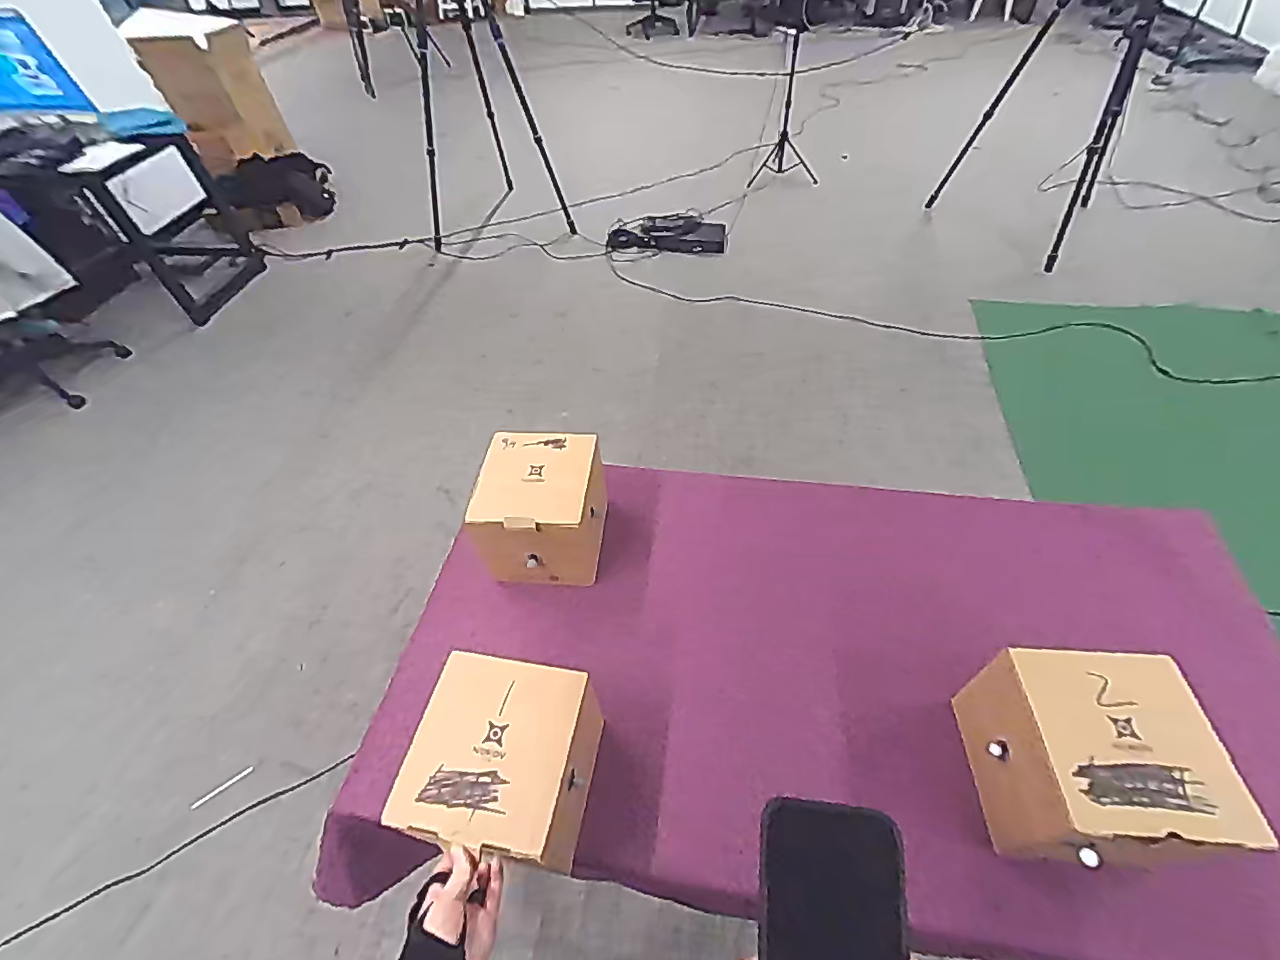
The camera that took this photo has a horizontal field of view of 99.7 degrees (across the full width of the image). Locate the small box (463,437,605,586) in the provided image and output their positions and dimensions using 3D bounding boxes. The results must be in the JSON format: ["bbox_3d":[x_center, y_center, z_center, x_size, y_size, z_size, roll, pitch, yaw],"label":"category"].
[{"bbox_3d":[-0.152,0.052,0.851,0.168,0.176,0.179,2,51,6],"label":"small box"}]

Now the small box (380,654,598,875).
[{"bbox_3d":[-0.150,0.326,0.616,0.168,0.176,0.179,6,49,9],"label":"small box"}]
